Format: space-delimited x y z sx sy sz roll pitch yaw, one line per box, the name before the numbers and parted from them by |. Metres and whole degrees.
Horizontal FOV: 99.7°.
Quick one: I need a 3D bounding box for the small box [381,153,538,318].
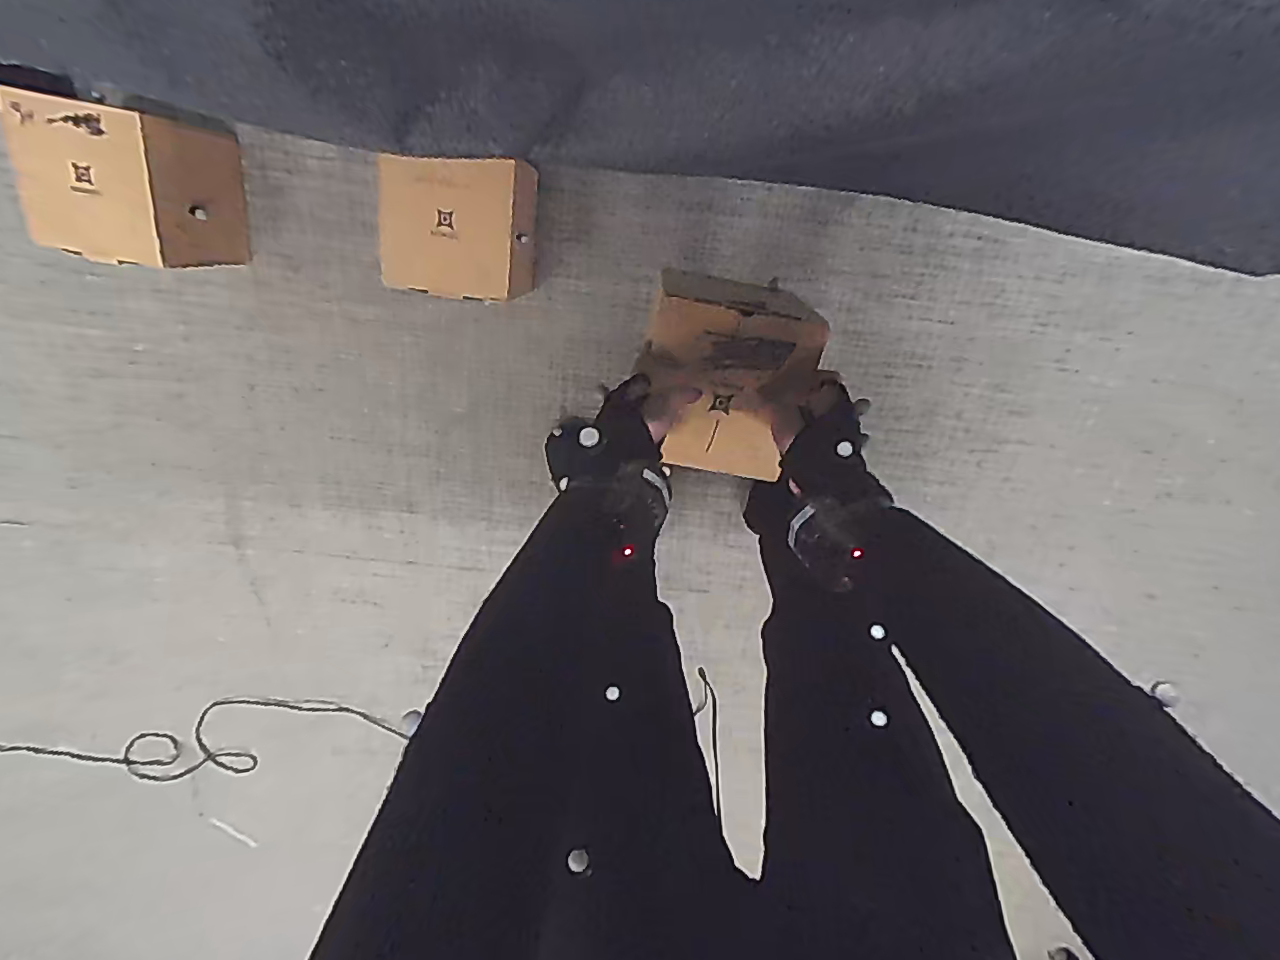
small box | -0.242 -0.335 0.761 0.168 0.176 0.179 7 111 -2
